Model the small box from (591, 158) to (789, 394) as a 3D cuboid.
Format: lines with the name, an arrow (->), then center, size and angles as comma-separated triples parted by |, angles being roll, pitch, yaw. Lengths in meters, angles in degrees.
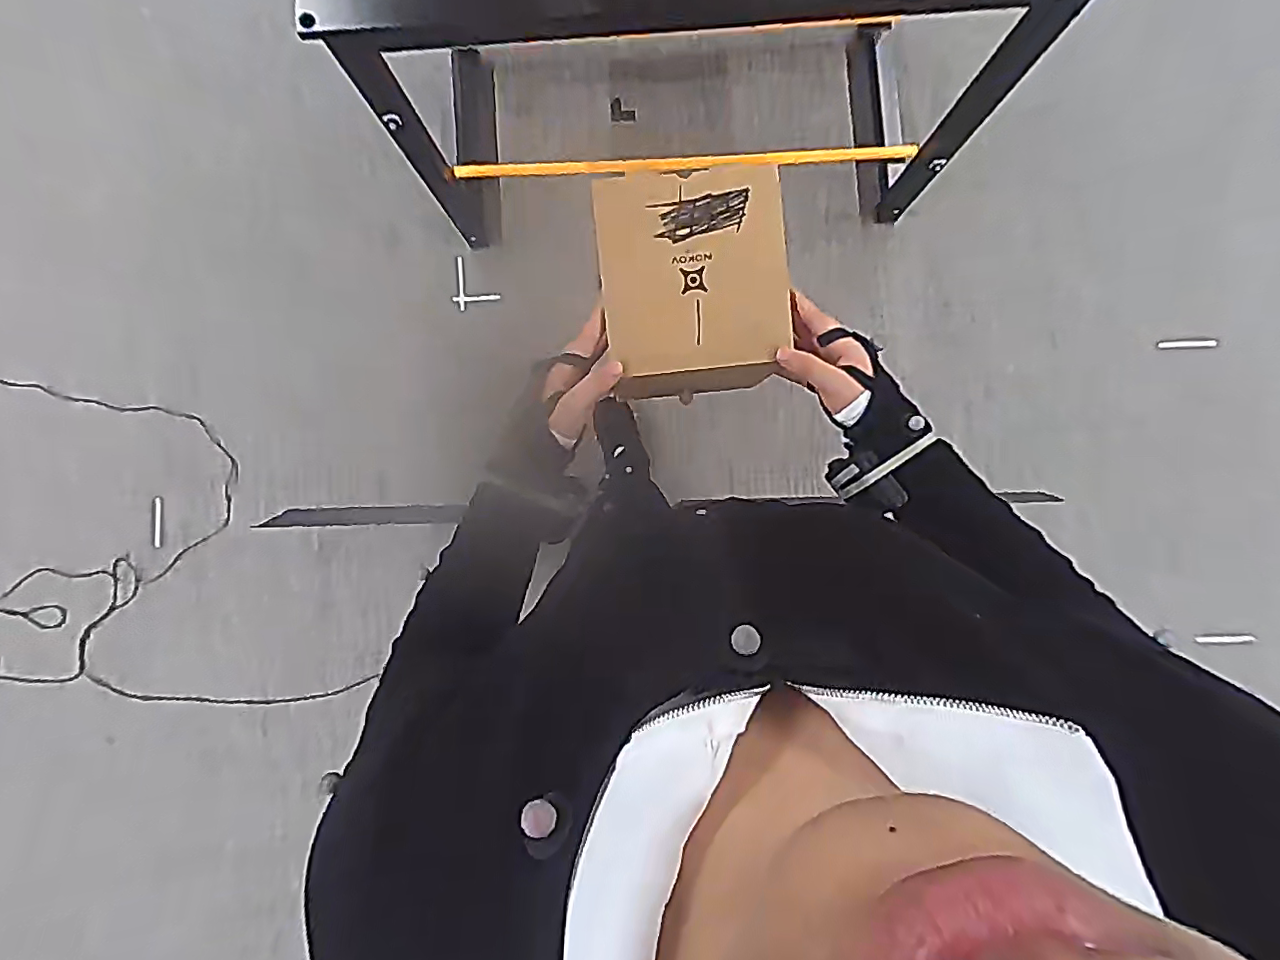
small box -> 0.042, -0.193, 0.558 | 0.168, 0.176, 0.179 | -6, 91, 0
